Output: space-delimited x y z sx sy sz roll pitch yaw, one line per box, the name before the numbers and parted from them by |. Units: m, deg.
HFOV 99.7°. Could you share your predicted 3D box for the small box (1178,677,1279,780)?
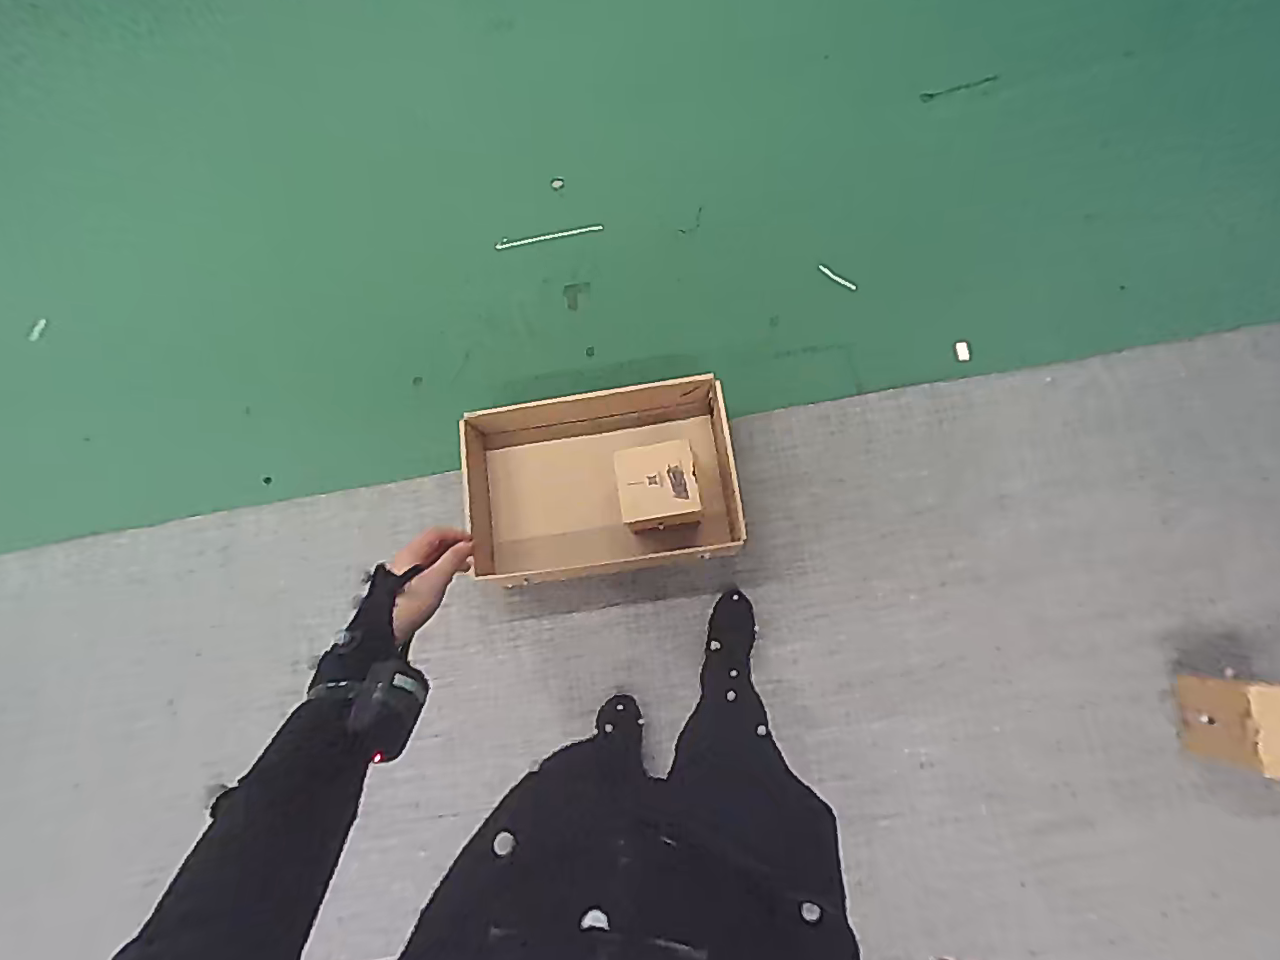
small box | 1.237 0.493 1.081 0.179 0.176 0.168 2 78 6
